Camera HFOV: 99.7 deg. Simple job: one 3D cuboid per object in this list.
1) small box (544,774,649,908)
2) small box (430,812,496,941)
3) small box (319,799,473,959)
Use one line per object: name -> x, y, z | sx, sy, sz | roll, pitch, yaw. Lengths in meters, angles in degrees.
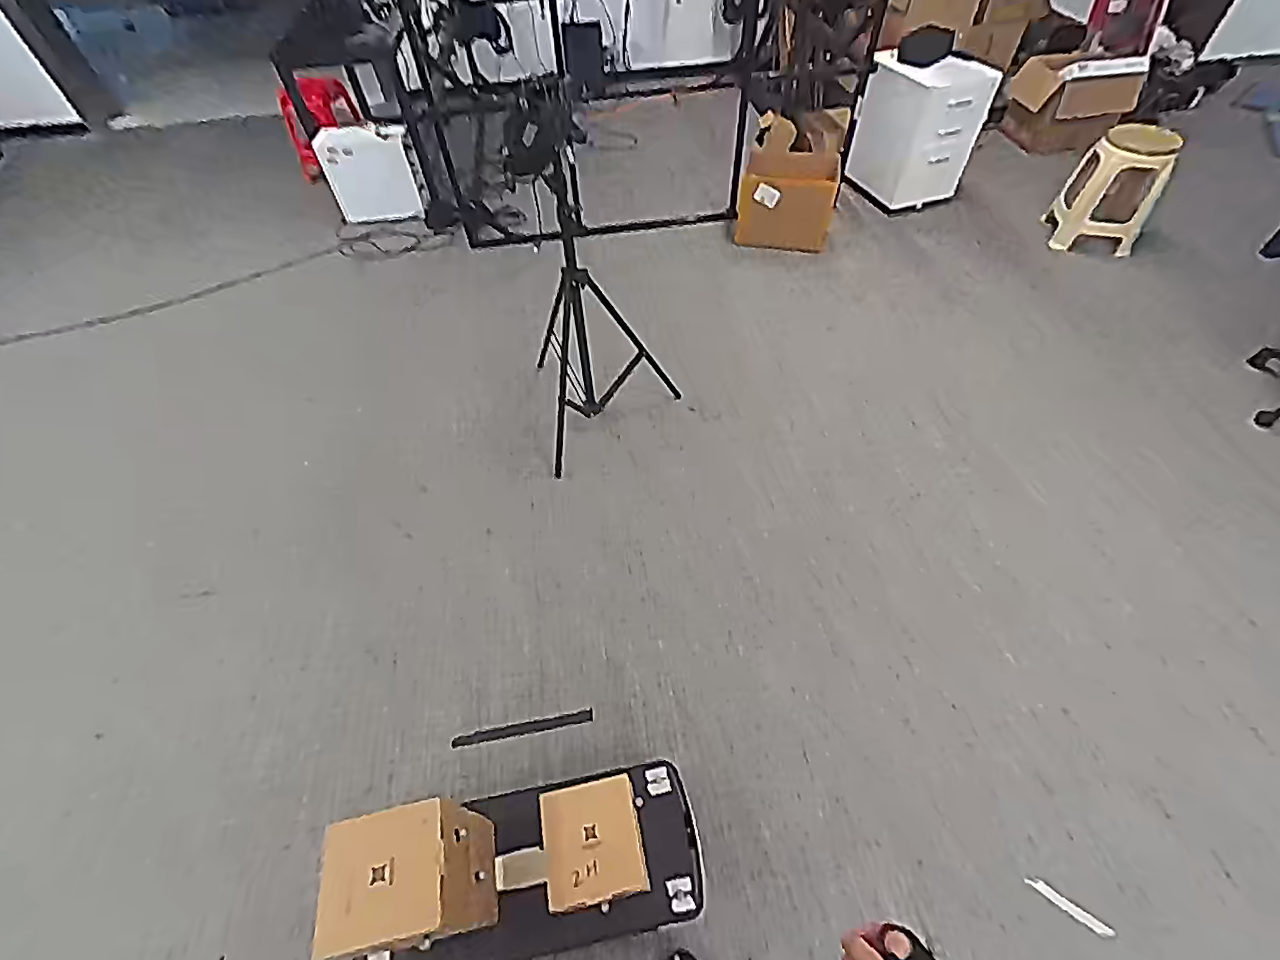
small box -> -0.079, 0.678, 1.012 | 0.168, 0.176, 0.179 | -11, 52, -4
small box -> -0.364, 0.730, 0.985 | 0.179, 0.176, 0.168 | -11, 52, -6
small box -> -0.370, 0.629, 0.856 | 0.179, 0.176, 0.168 | -12, 51, -7
